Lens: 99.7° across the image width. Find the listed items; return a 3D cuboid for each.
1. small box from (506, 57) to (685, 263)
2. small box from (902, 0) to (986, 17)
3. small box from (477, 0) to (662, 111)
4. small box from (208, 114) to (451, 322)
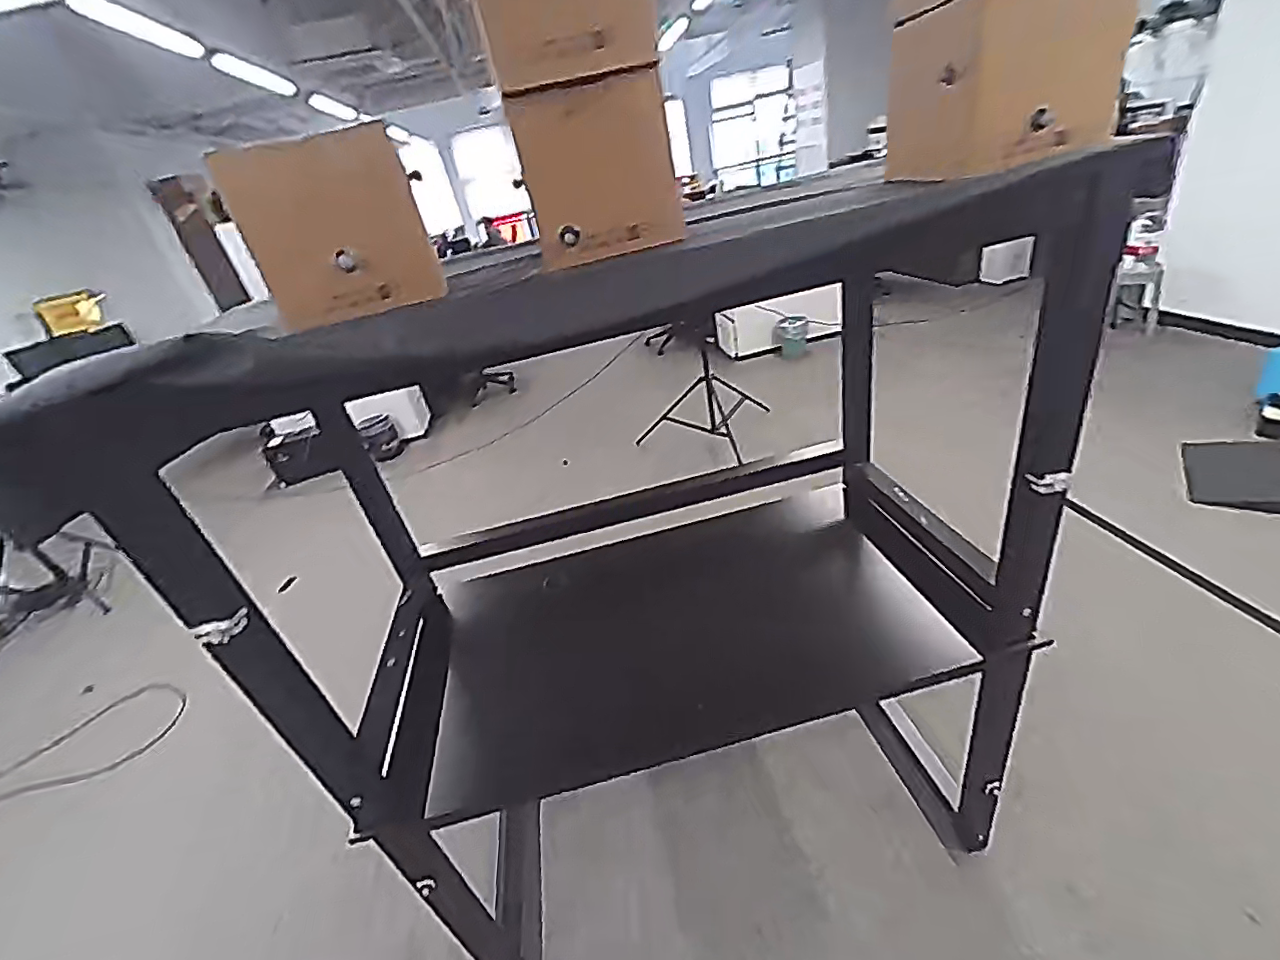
[{"bbox_3d":[-0.051,-0.367,0.645,0.168,0.176,0.179,-14,28,-4],"label":"small box"},{"bbox_3d":[0.378,-0.589,0.529,0.168,0.176,0.179,-15,31,-2],"label":"small box"},{"bbox_3d":[-0.083,-0.499,0.555,0.168,0.176,0.179,-14,28,-6],"label":"small box"},{"bbox_3d":[-0.324,-0.287,0.610,0.168,0.176,0.179,-19,29,-10],"label":"small box"}]
